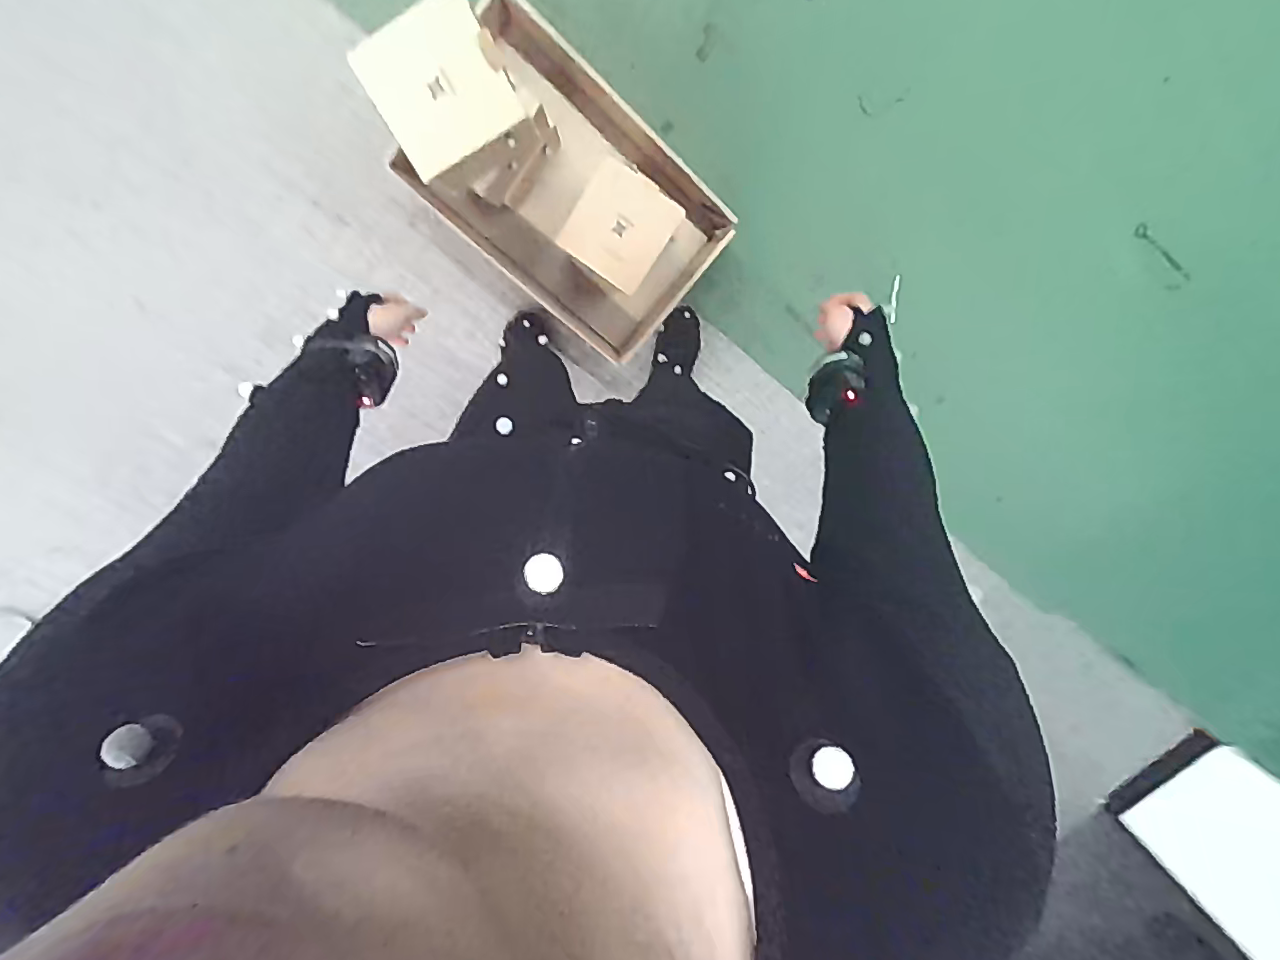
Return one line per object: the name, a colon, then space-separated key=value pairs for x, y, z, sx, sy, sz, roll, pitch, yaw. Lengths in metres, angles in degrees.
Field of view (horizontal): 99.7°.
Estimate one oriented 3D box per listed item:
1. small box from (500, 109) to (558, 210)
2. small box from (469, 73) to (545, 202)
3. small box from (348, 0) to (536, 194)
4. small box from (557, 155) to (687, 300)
small box: x=-0.279 y=-0.676 z=1.084 sx=0.168 sy=0.176 sz=0.179 roll=35 pitch=104 yaw=-16
small box: x=-0.278 y=-0.611 z=0.934 sx=0.168 sy=0.176 sz=0.179 roll=36 pitch=104 yaw=-17
small box: x=-0.270 y=-0.544 z=0.786 sx=0.179 sy=0.176 sz=0.168 roll=-29 pitch=111 yaw=6
small box: x=-0.035 y=-0.464 z=1.013 sx=0.168 sy=0.176 sz=0.179 roll=32 pitch=108 yaw=-13
